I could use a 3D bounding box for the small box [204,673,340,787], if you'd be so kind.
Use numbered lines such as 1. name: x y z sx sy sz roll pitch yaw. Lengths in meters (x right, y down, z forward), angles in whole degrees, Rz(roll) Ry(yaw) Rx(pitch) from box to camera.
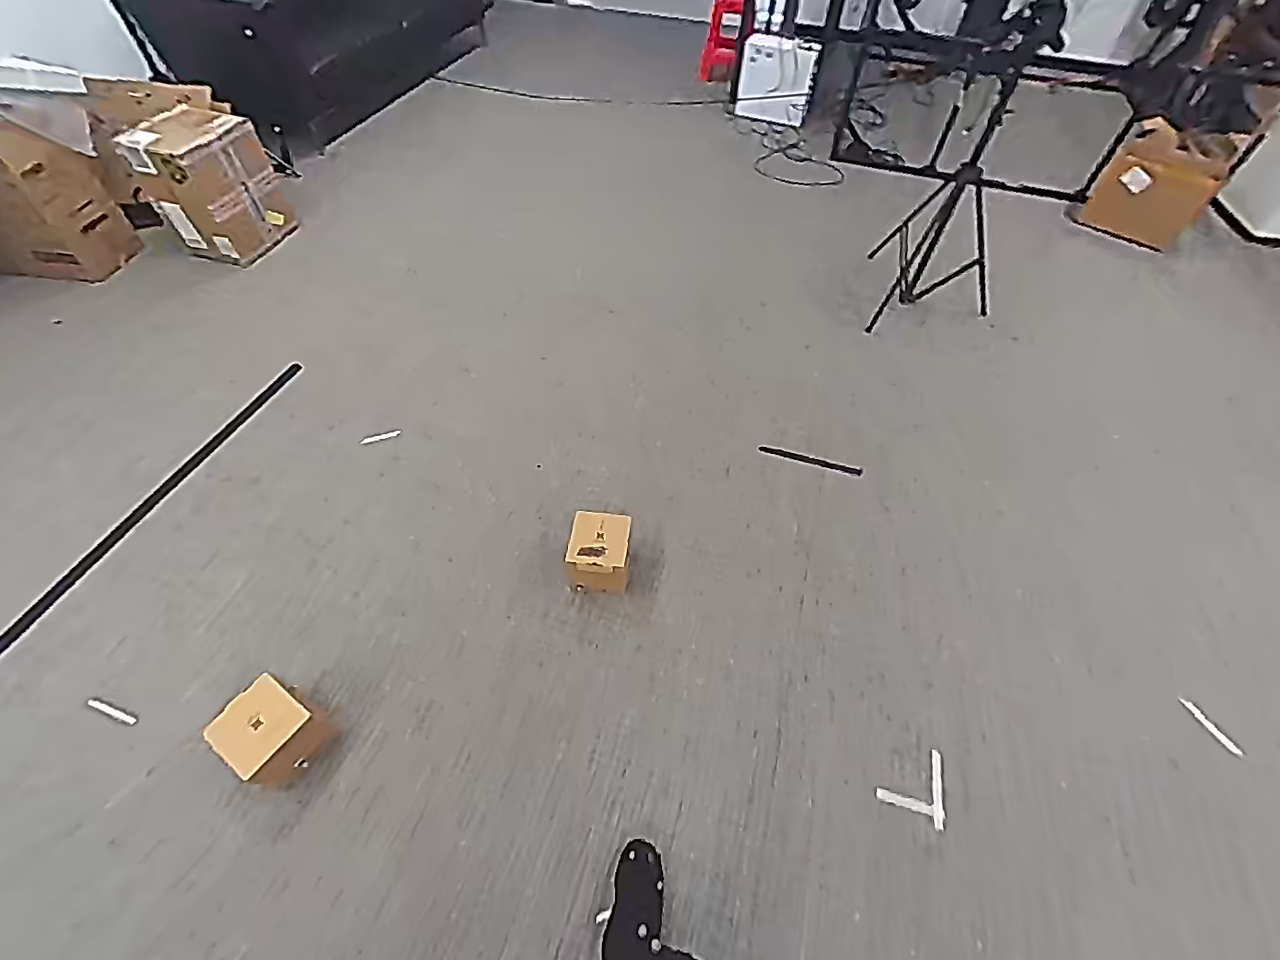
1. small box: -0.860 0.596 1.279 0.179 0.176 0.168 30 59 18

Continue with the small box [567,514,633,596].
1. small box: -0.112 0.224 1.590 0.168 0.176 0.179 6 52 3
